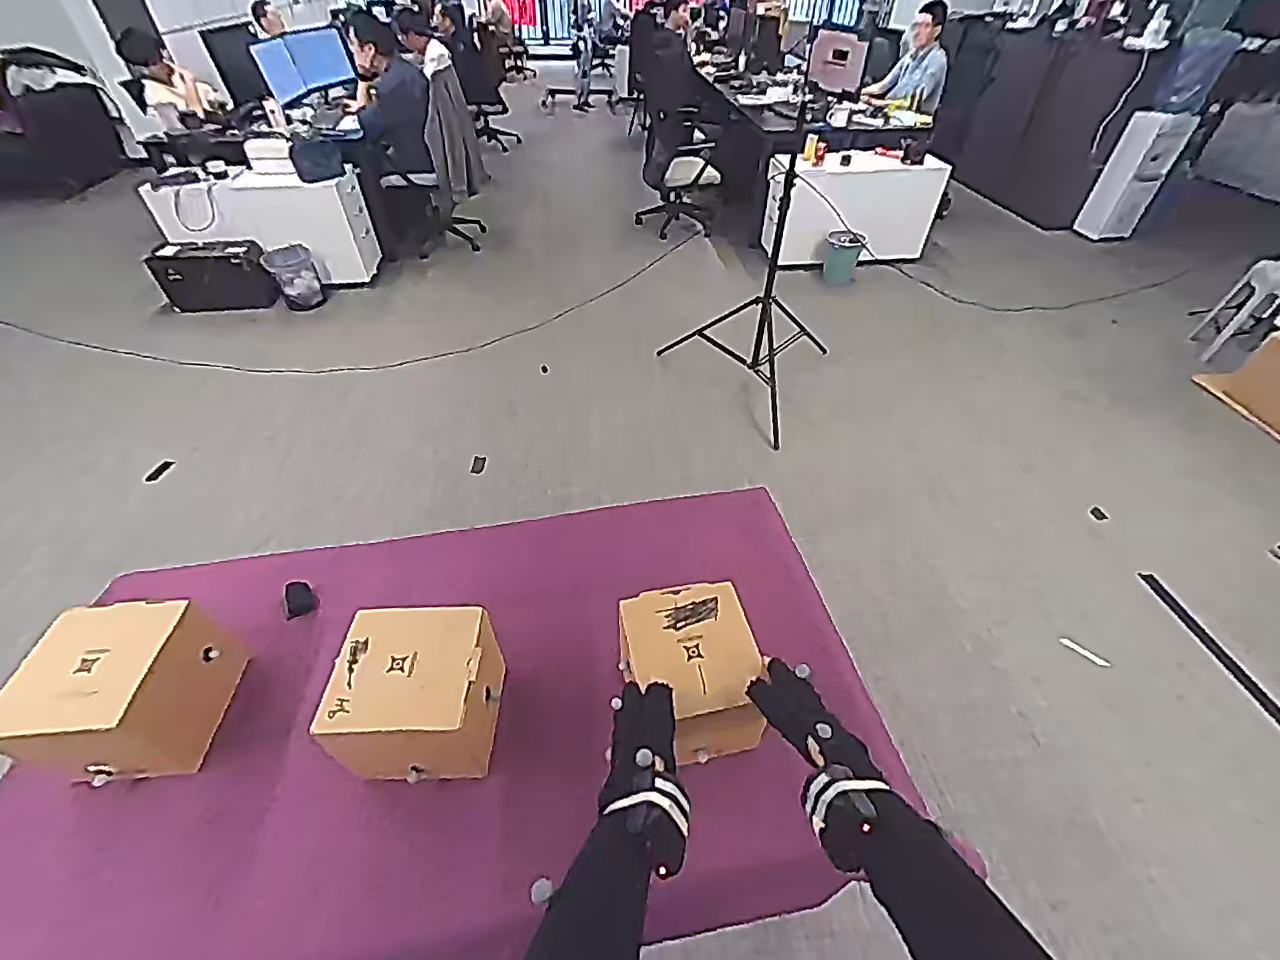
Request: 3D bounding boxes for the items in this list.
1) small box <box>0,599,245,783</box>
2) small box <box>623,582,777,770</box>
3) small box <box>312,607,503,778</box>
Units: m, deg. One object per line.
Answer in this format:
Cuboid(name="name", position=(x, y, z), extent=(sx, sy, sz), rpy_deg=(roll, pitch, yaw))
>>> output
Cuboid(name="small box", position=(-0.685, 0.285, 0.735), extent=(0.168, 0.176, 0.179), rpy_deg=(-4, 45, -3))
Cuboid(name="small box", position=(0.070, 0.271, 0.753), extent=(0.168, 0.176, 0.179), rpy_deg=(-9, 45, -8))
Cuboid(name="small box", position=(-0.293, 0.289, 0.734), extent=(0.179, 0.176, 0.168), rpy_deg=(0, 44, -2))
